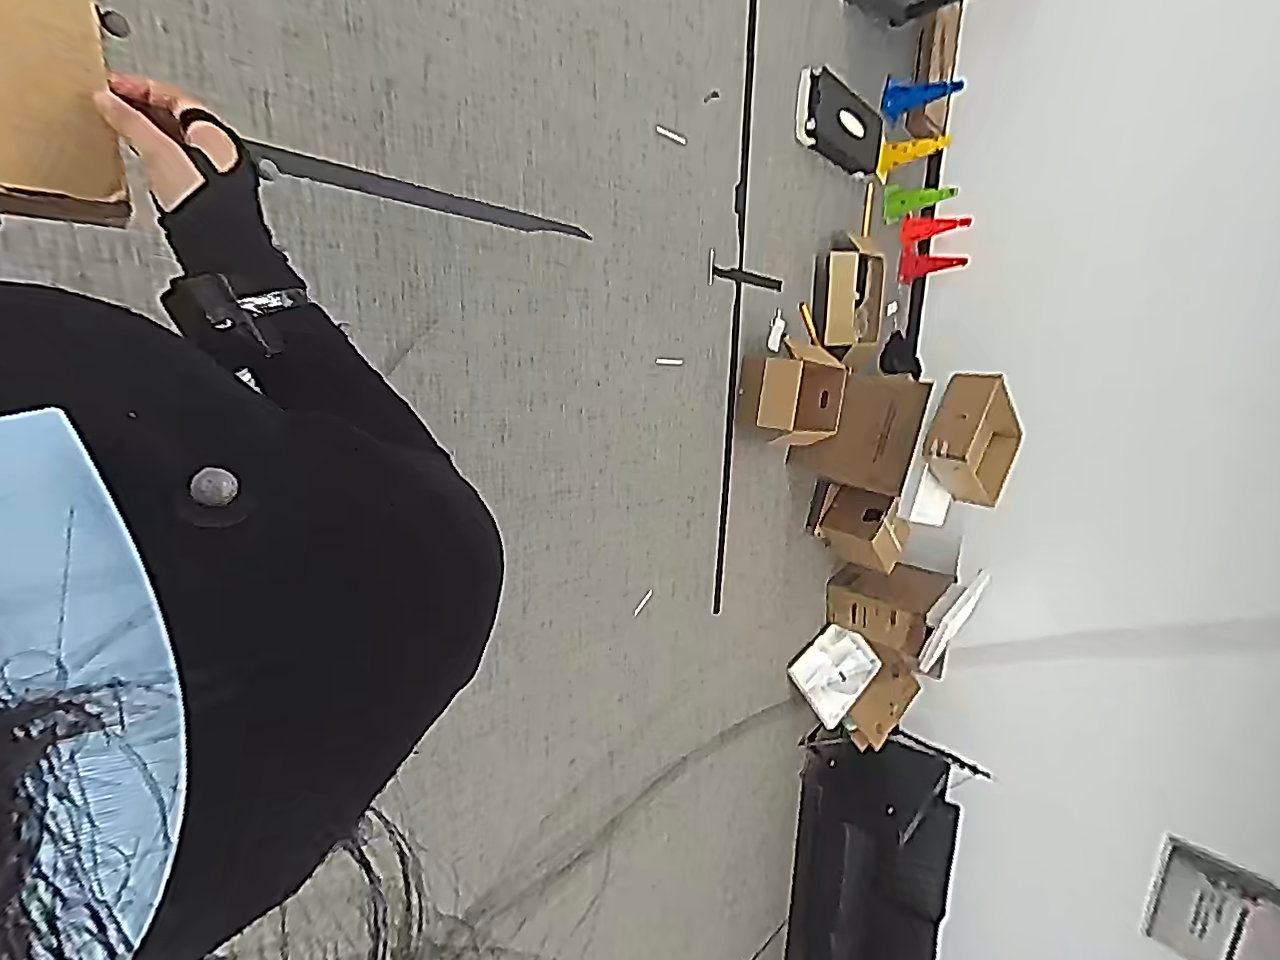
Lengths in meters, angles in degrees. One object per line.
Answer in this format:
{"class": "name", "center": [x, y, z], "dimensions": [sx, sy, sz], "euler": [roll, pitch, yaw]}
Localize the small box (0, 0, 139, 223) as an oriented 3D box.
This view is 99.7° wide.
{"class": "small box", "center": [-0.468, -0.288, 0.366], "dimensions": [0.168, 0.176, 0.179], "euler": [-11, 112, -42]}
